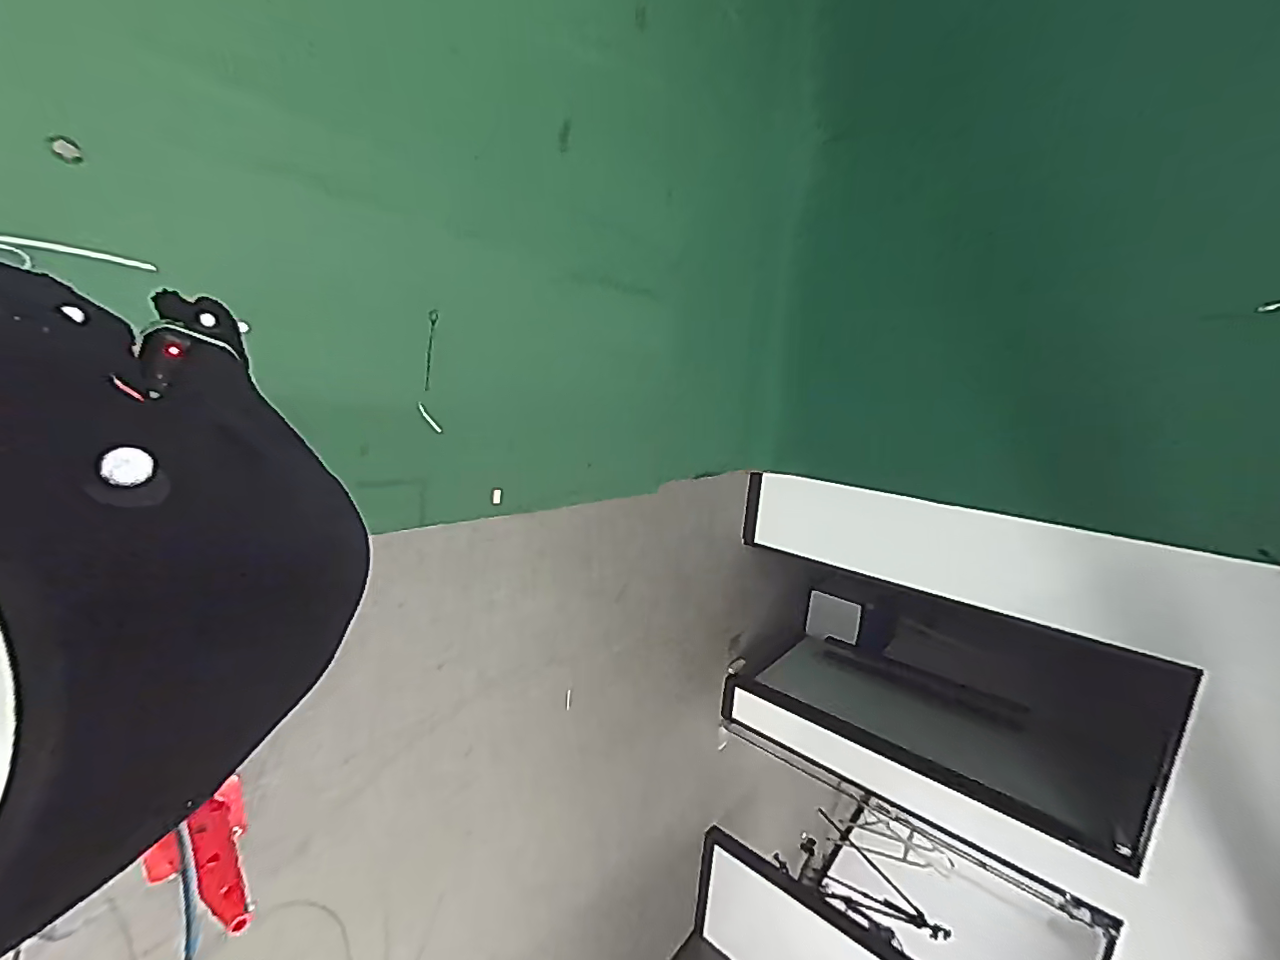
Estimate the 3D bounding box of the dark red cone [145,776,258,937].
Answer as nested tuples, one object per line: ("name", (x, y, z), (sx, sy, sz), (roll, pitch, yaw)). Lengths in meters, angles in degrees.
("dark red cone", (-0.951, 0.884, 1.231), (0.202, 0.394, 0.201), (-16, 112, -48))
